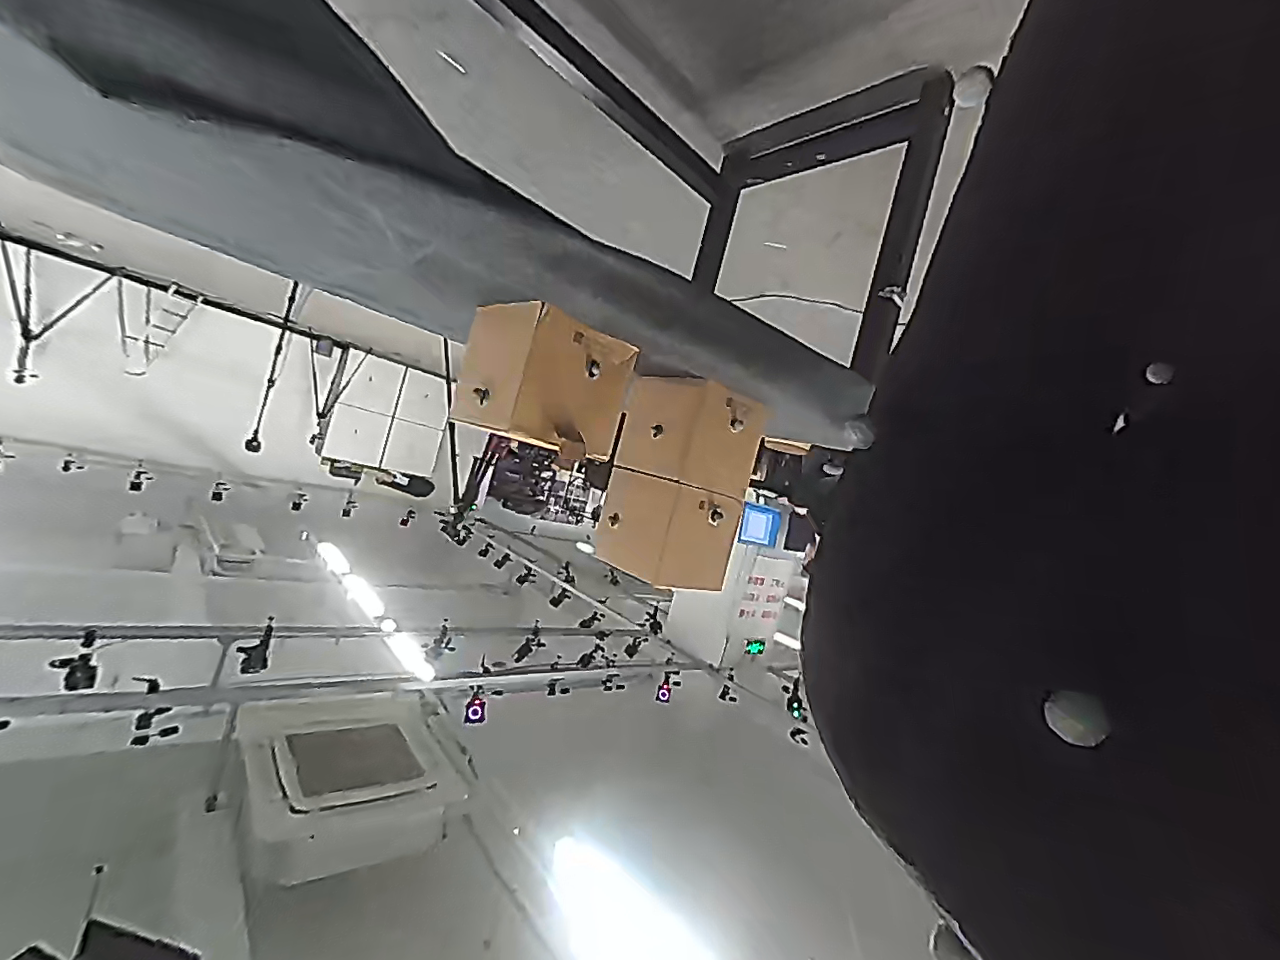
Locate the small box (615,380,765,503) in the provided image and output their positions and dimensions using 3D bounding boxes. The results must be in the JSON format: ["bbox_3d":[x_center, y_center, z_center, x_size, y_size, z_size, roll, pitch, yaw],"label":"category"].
[{"bbox_3d":[0.088,-0.070,0.933,0.168,0.176,0.179,15,179,-40],"label":"small box"}]

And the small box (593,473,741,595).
[{"bbox_3d":[0.048,0.087,0.933,0.168,0.176,0.179,13,180,-40],"label":"small box"}]

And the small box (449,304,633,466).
[{"bbox_3d":[-0.134,-0.131,0.752,0.168,0.176,0.179,15,179,-44],"label":"small box"}]
